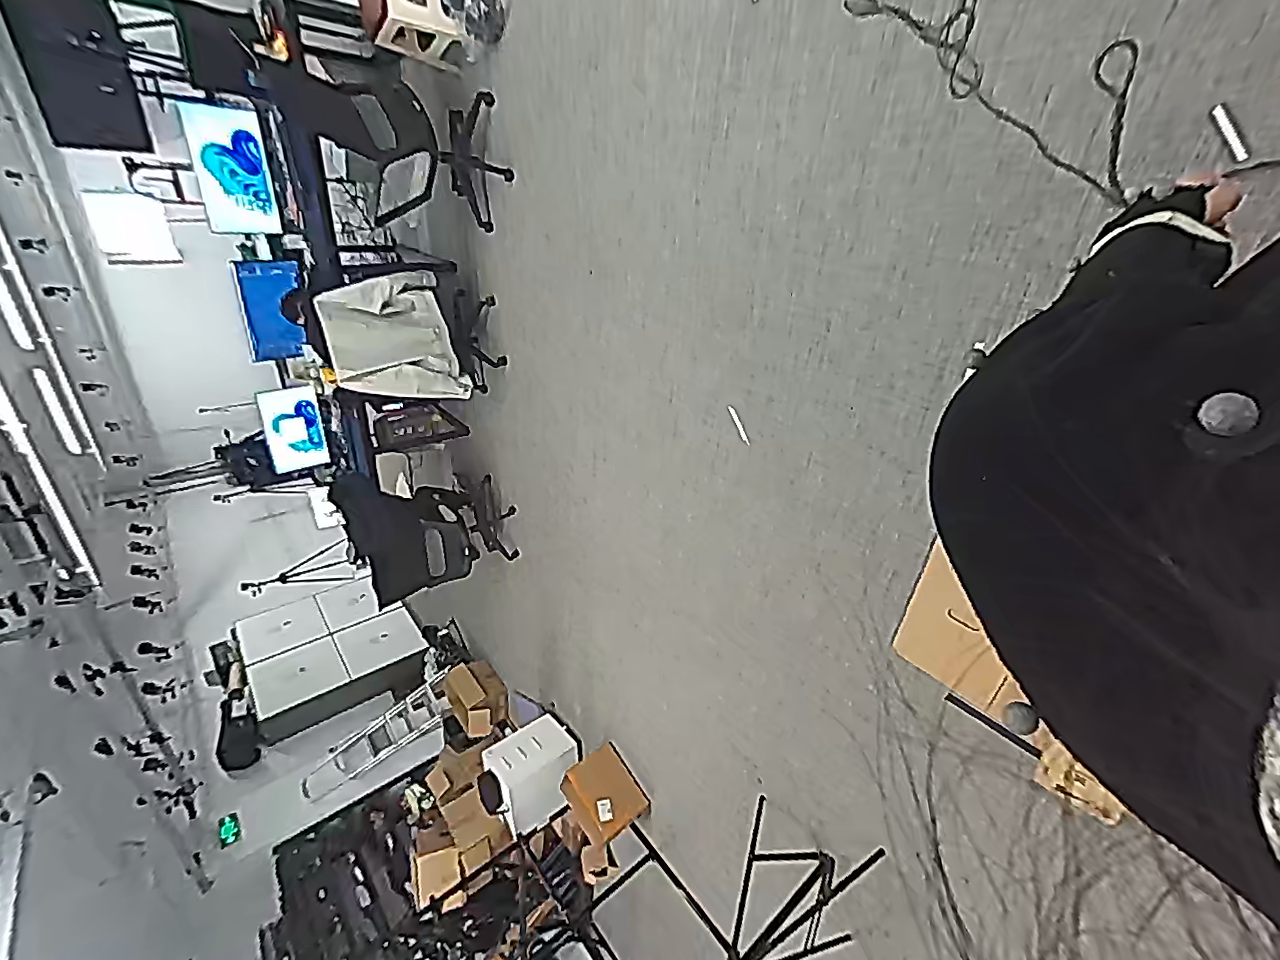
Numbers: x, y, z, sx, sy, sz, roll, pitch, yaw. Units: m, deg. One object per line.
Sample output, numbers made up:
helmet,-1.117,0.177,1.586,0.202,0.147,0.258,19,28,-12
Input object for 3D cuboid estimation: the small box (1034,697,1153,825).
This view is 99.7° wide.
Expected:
small box,1.086,0.661,1.294,0.168,0.176,0.179,25,123,44
